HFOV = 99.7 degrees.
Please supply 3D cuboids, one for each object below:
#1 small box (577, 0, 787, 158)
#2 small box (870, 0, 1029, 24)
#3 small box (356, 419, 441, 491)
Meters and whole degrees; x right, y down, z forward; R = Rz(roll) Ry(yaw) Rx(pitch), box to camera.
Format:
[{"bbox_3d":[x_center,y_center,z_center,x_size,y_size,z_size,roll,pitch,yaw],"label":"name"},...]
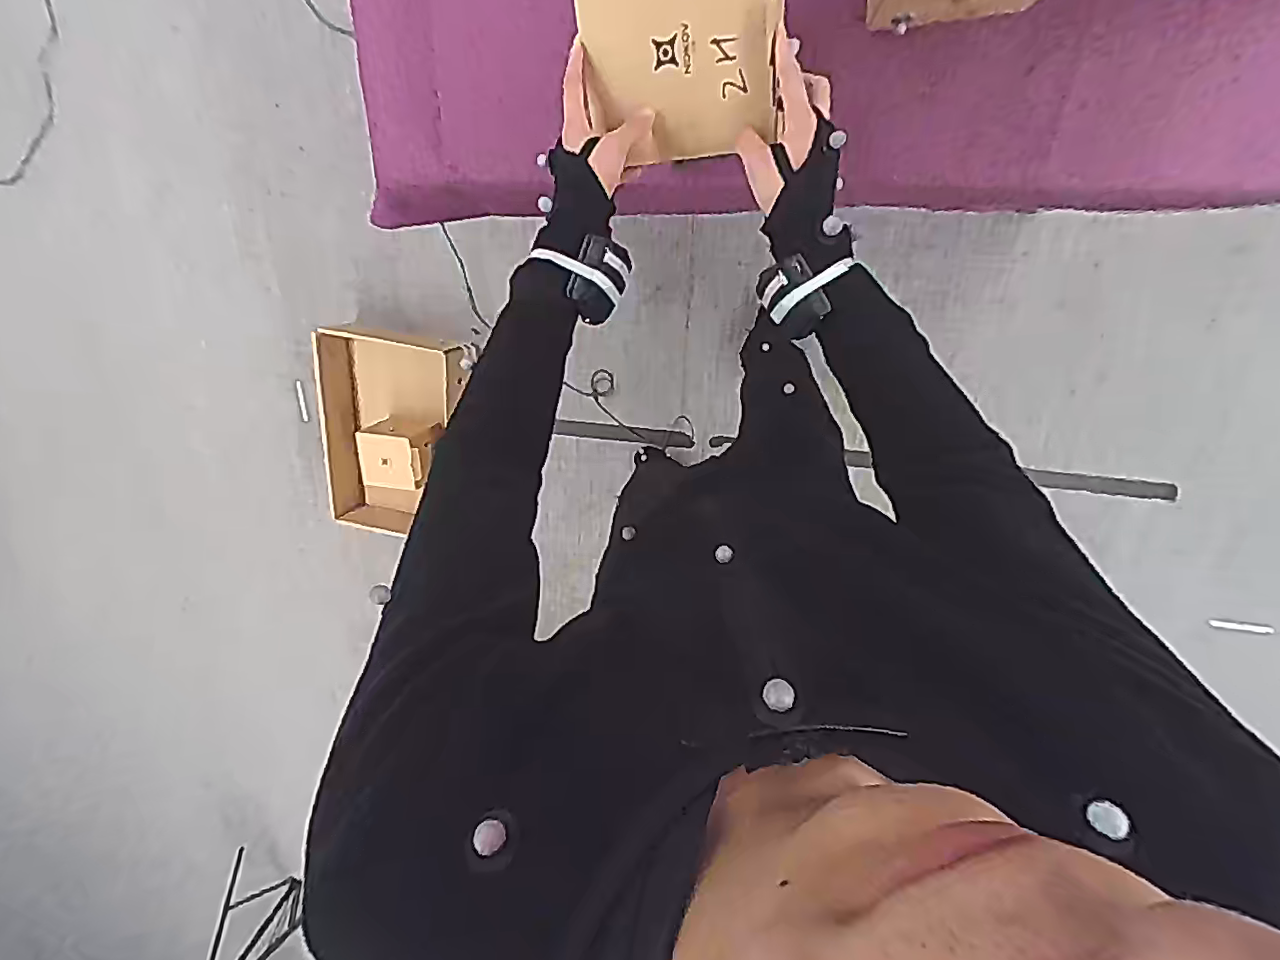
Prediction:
[{"bbox_3d":[0.052,-0.425,0.536,0.179,0.176,0.168,2,123,15],"label":"small box"},{"bbox_3d":[0.319,-0.558,0.498,0.168,0.176,0.179,1,112,10],"label":"small box"},{"bbox_3d":[-0.725,-0.082,1.649,0.179,0.176,0.168,7,112,8],"label":"small box"}]
